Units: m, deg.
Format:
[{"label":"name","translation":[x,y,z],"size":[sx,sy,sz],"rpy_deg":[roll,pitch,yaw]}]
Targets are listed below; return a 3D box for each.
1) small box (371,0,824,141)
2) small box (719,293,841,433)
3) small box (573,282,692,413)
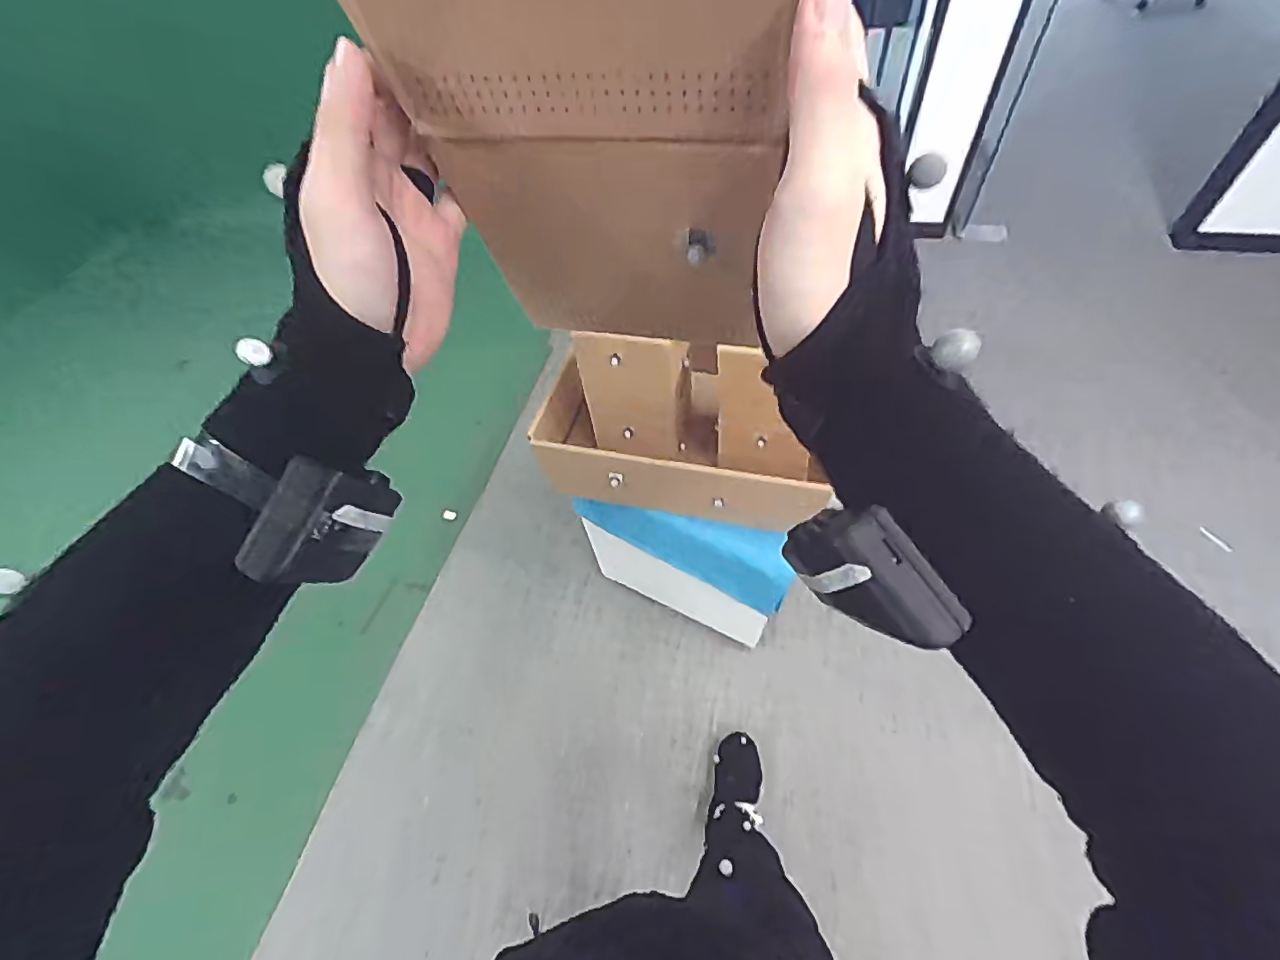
[{"label":"small box","translation":[-0.016,-0.253,0.192],"size":[0.179,0.176,0.168],"rpy_deg":[7,75,12]},{"label":"small box","translation":[0.240,-0.202,0.949],"size":[0.179,0.176,0.168],"rpy_deg":[10,56,15]},{"label":"small box","translation":[-0.004,-0.243,1.006],"size":[0.179,0.176,0.168],"rpy_deg":[10,56,13]}]
